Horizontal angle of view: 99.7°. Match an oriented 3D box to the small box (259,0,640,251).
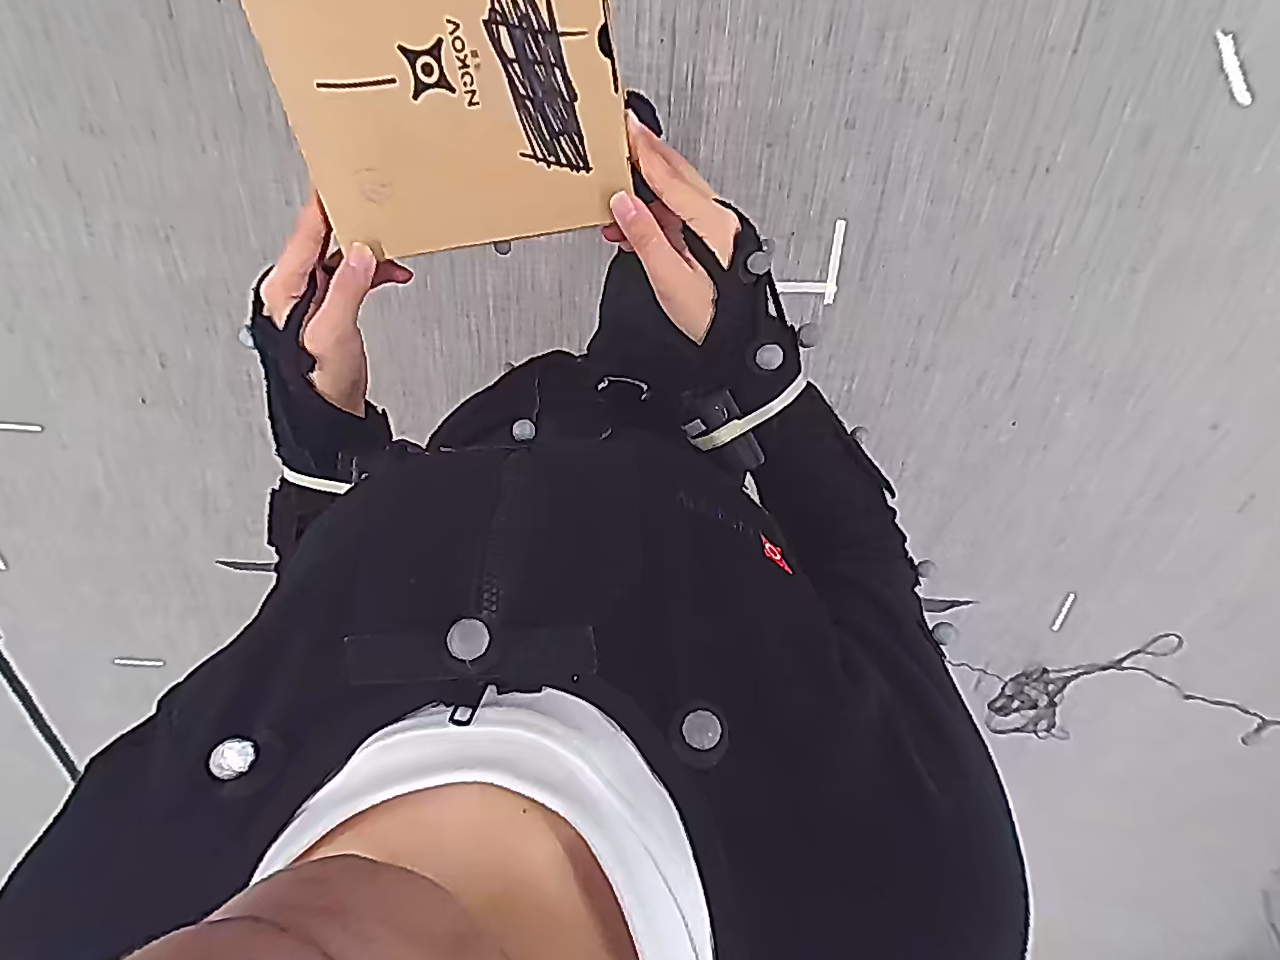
[{"bbox_3d":[-0.100,-0.259,0.349,0.179,0.176,0.168,-8,121,2],"label":"small box"}]
